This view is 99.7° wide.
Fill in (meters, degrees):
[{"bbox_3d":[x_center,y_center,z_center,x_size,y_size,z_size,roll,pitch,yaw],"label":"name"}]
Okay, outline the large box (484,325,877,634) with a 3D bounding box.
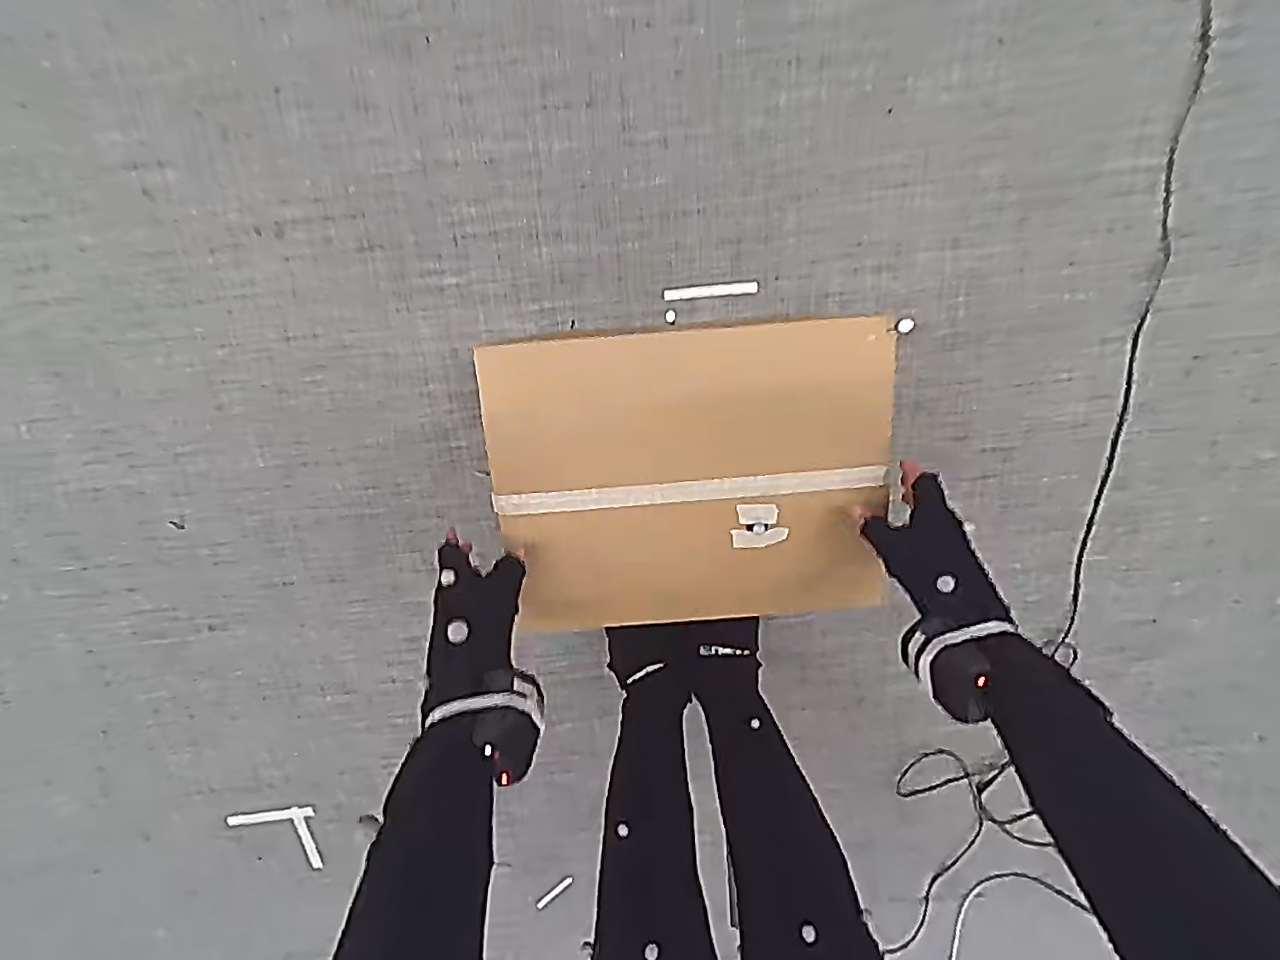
[{"bbox_3d":[0.048,-0.028,0.721,0.408,0.320,0.320,-5,107,0],"label":"large box"}]
